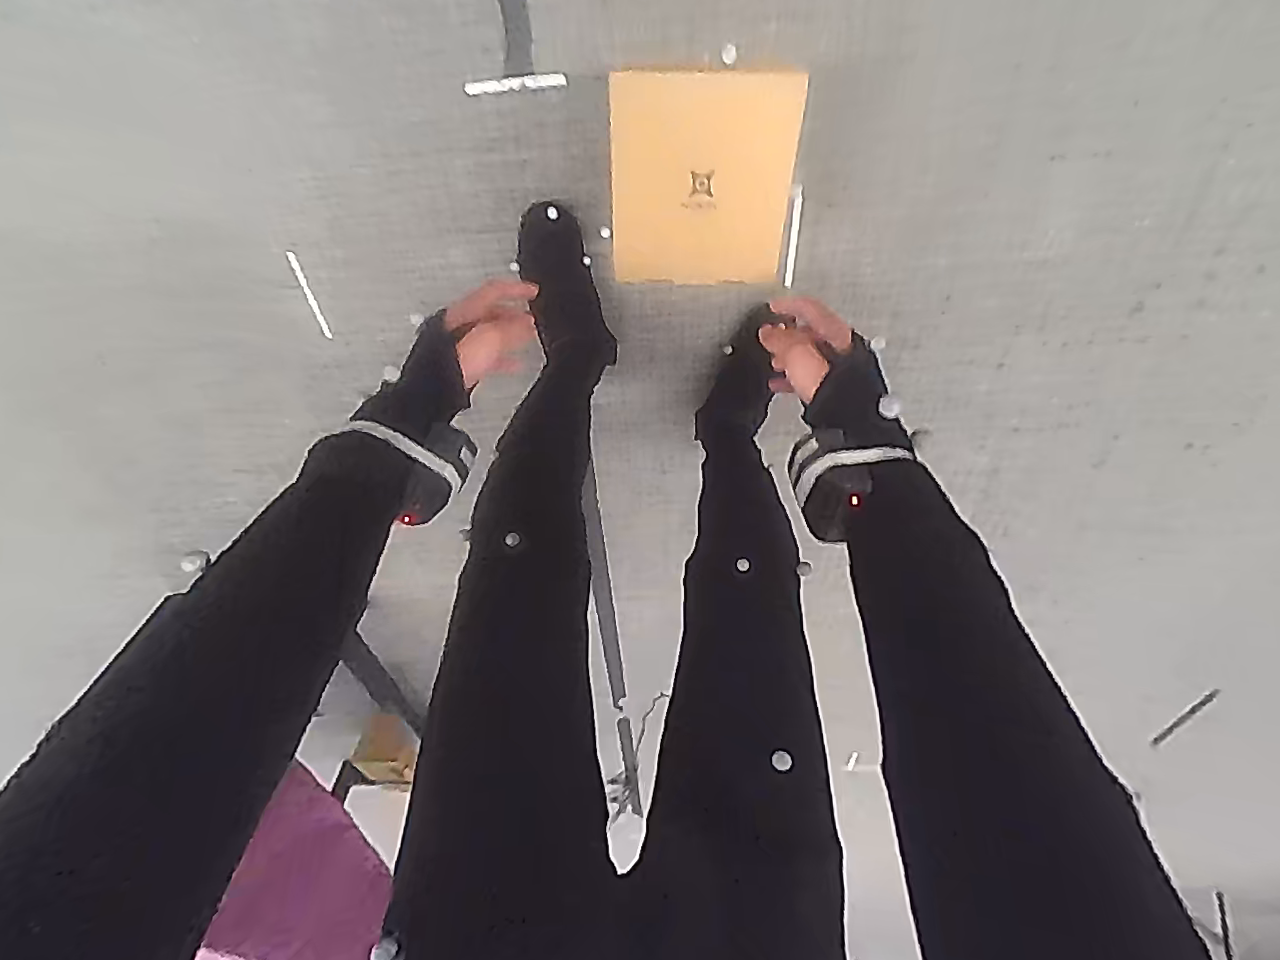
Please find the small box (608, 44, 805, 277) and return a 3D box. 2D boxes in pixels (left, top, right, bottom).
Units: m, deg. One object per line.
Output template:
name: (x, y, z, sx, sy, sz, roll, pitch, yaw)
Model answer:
small box: (0.053, -0.328, 0.552, 0.168, 0.176, 0.179, 2, 134, 1)
